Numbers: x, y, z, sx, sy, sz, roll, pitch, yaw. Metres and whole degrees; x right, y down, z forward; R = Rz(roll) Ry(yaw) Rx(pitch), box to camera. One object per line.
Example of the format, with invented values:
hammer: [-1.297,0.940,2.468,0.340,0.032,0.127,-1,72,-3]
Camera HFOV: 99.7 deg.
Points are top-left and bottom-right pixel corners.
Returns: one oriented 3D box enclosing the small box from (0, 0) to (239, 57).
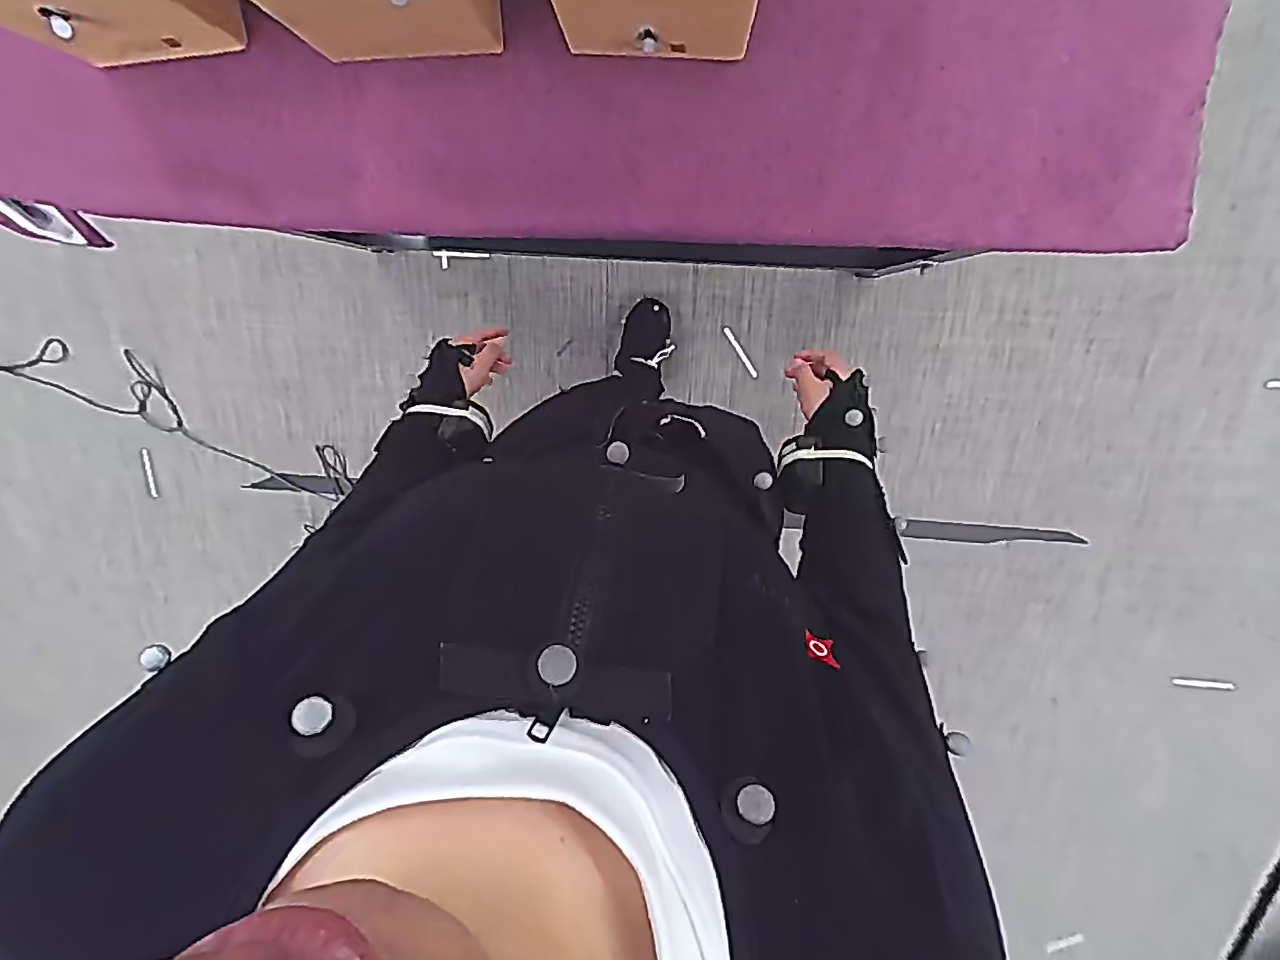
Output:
small box: [-0.479,-0.483,0.443,0.168,0.176,0.179,-3,106,5]

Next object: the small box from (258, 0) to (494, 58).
small box: [-0.224,-0.469,0.427,0.179,0.176,0.168,-1,106,3]
